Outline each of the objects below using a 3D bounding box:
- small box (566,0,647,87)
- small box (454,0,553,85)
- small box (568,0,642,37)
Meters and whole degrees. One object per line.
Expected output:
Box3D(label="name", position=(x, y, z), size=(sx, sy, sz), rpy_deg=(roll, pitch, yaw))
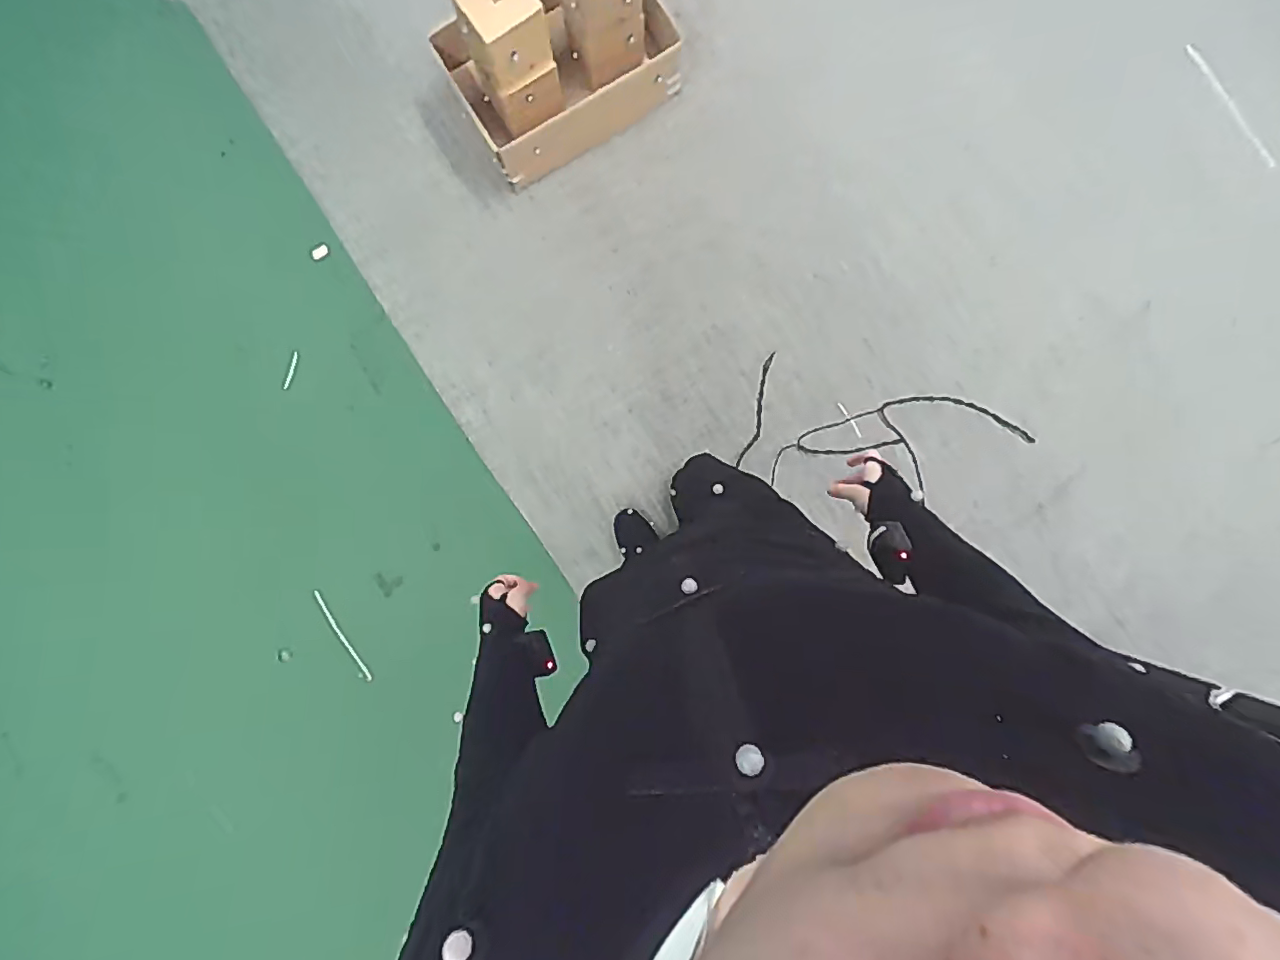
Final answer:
Box3D(label="small box", position=(-0.094, -1.279, 1.533), size=(0.179, 0.176, 0.168), rpy_deg=(-28, 89, 0))
Box3D(label="small box", position=(-0.341, -1.153, 1.371), size=(0.168, 0.176, 0.179), rpy_deg=(-36, 88, -1))
Box3D(label="small box", position=(-0.100, -1.283, 1.371), size=(0.168, 0.176, 0.179), rpy_deg=(-28, 89, -1))
